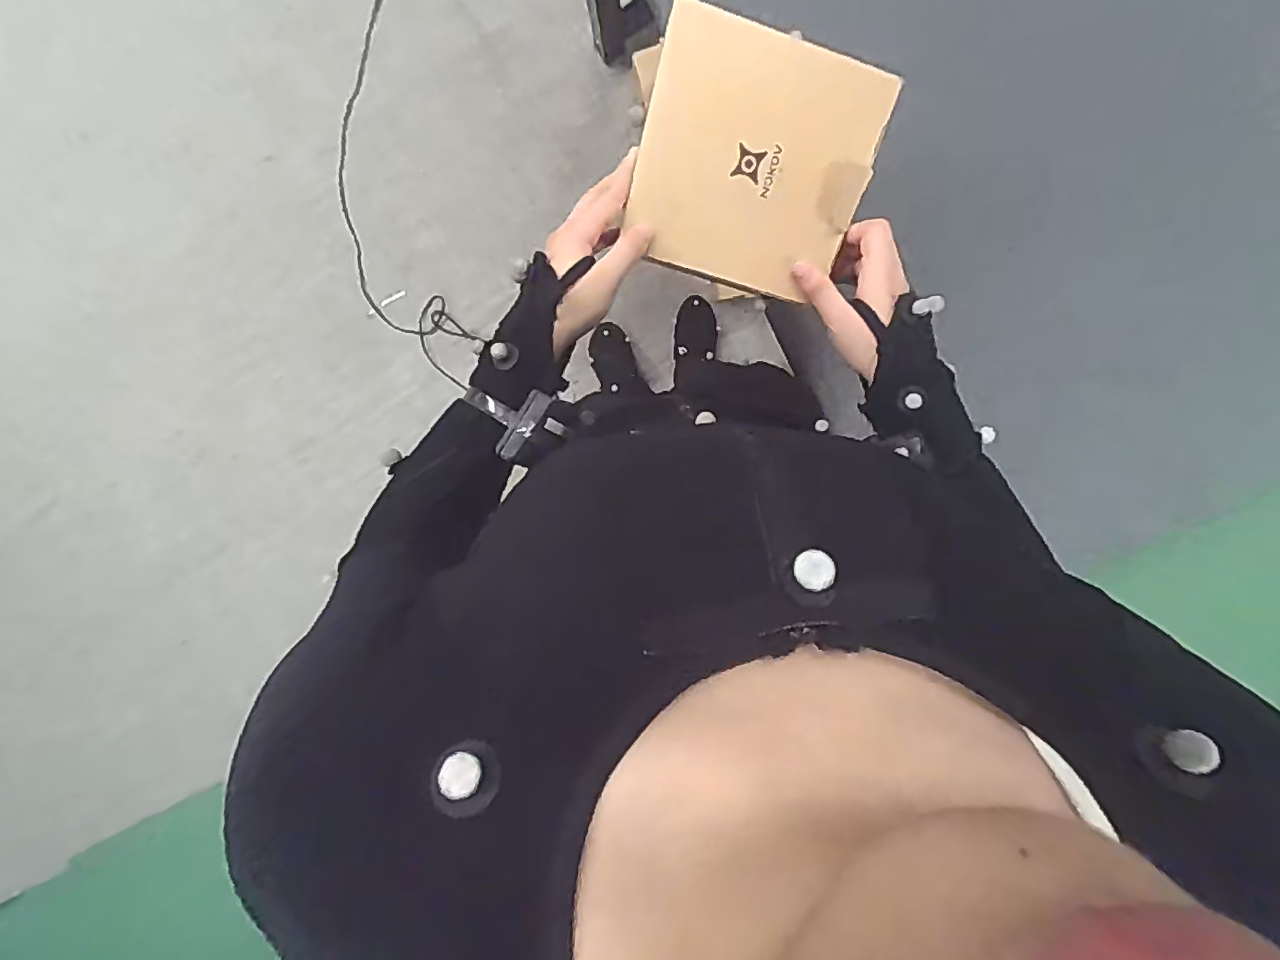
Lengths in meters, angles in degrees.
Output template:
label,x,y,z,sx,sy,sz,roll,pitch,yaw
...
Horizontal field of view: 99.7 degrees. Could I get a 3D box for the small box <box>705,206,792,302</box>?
label,x,y,z,sx,sy,sz,roll,pitch,yaw
small box,0.248,-0.517,1.259,0.168,0.176,0.179,-9,106,3

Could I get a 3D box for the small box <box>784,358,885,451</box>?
label,x,y,z,sx,sy,sz,roll,pitch,yaw
small box,0.480,-0.197,1.357,0.168,0.176,0.179,-23,107,8

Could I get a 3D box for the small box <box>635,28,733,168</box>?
label,x,y,z,sx,sy,sz,roll,pitch,yaw
small box,0.090,-0.812,1.167,0.168,0.176,0.179,-16,106,6

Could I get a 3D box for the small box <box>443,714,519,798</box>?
label,x,y,z,sx,sy,sz,roll,pitch,yaw
small box,-0.492,0.866,1.710,0.179,0.176,0.168,-9,107,4
